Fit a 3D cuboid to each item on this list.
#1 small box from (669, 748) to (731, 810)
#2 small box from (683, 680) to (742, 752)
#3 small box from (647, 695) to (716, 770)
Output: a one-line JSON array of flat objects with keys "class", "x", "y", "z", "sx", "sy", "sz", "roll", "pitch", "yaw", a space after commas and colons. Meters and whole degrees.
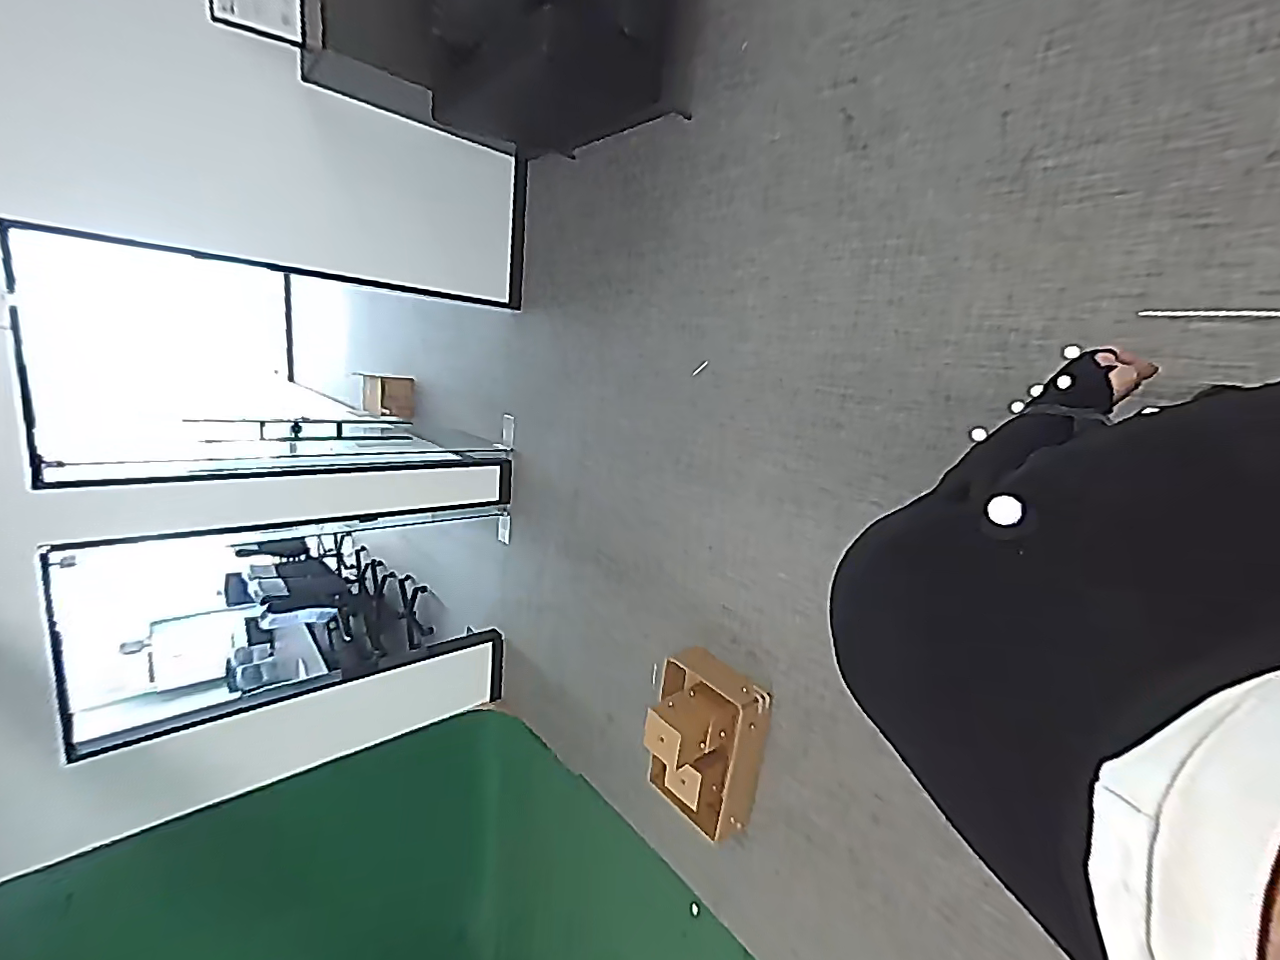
[{"class": "small box", "x": 0.244, "y": 1.166, "z": 2.169, "sx": 0.179, "sy": 0.176, "sz": 0.168, "roll": 18, "pitch": 106, "yaw": 45}, {"class": "small box", "x": 0.278, "y": 0.913, "z": 2.114, "sx": 0.179, "sy": 0.176, "sz": 0.168, "roll": 19, "pitch": 108, "yaw": 45}, {"class": "small box", "x": 0.154, "y": 0.925, "z": 2.007, "sx": 0.179, "sy": 0.176, "sz": 0.168, "roll": 22, "pitch": 111, "yaw": 44}]
